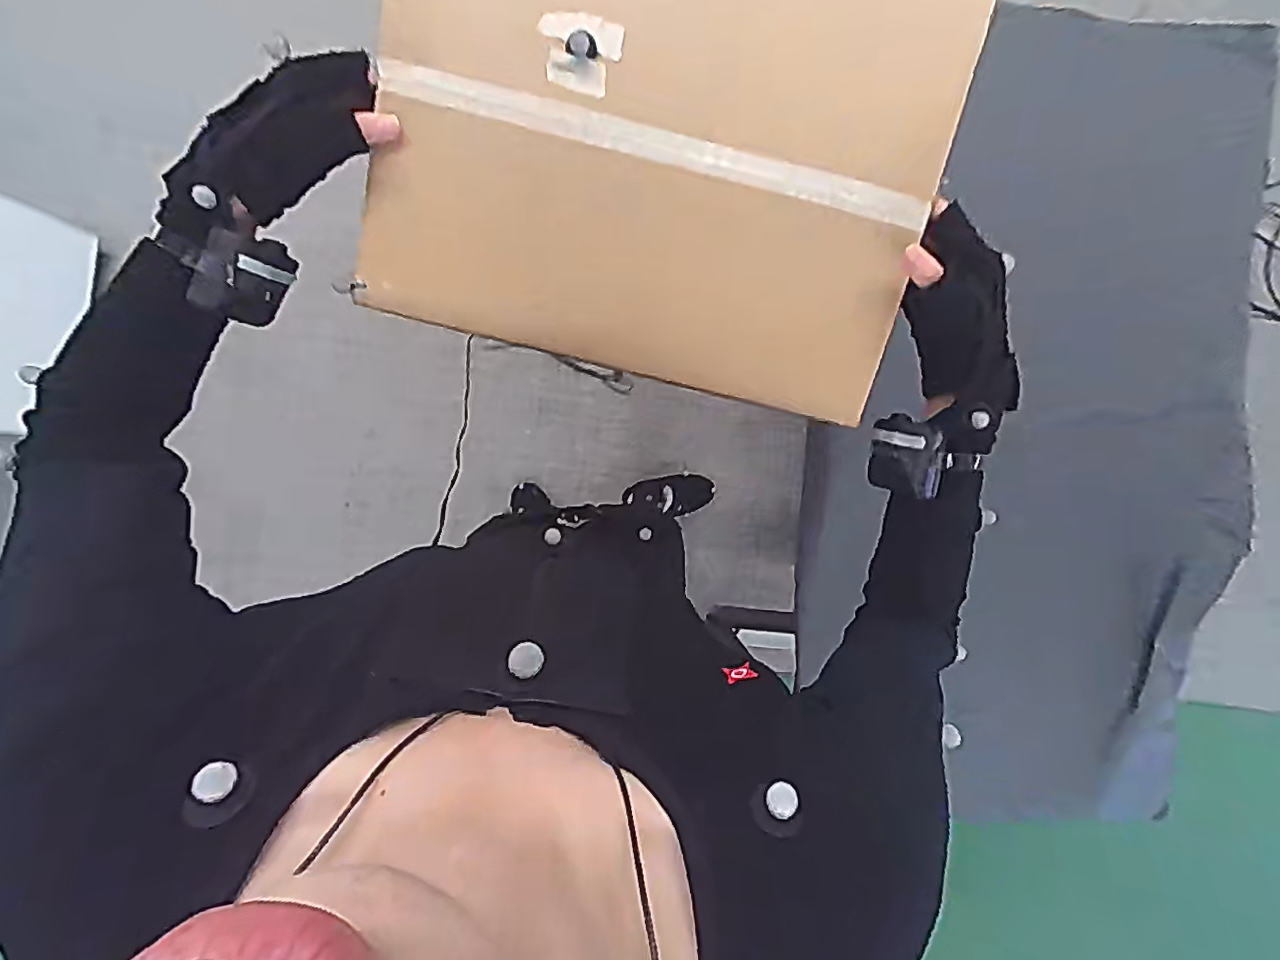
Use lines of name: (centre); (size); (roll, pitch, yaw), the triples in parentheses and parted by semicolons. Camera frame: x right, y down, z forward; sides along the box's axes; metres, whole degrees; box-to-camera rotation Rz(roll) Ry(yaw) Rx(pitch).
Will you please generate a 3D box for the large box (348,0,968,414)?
large box: (0.004, -0.270, 0.533); (0.408, 0.320, 0.320); (13, 102, -2)
